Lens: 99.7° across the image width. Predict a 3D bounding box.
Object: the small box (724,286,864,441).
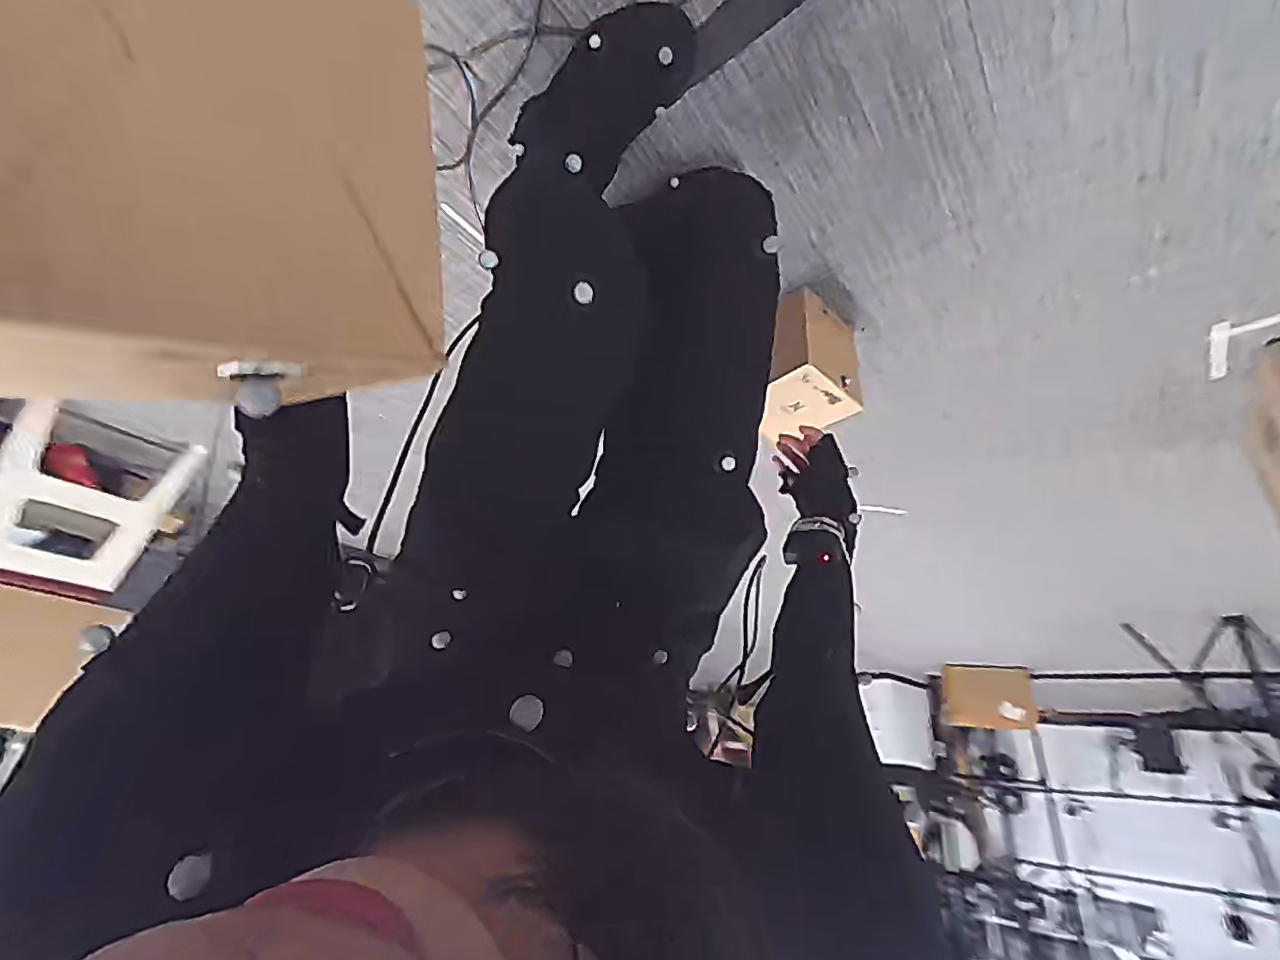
[{"bbox_3d":[0.269,-0.198,0.950,0.168,0.176,0.179,25,147,-34],"label":"small box"}]
